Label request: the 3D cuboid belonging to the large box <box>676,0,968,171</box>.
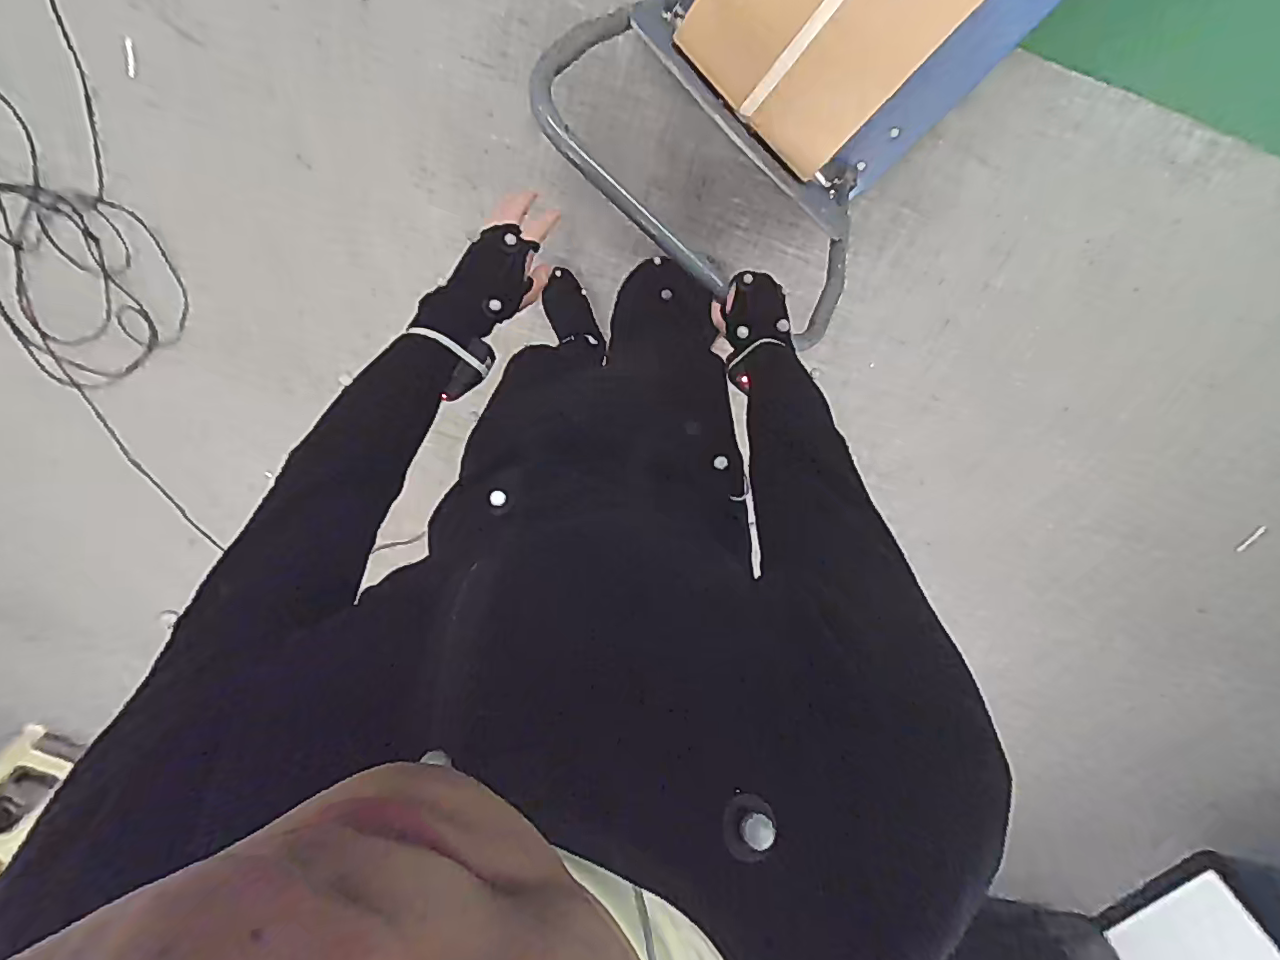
[{"bbox_3d":[0.322,-0.813,0.883,0.320,0.320,0.408,39,131,-17],"label":"large box"}]
